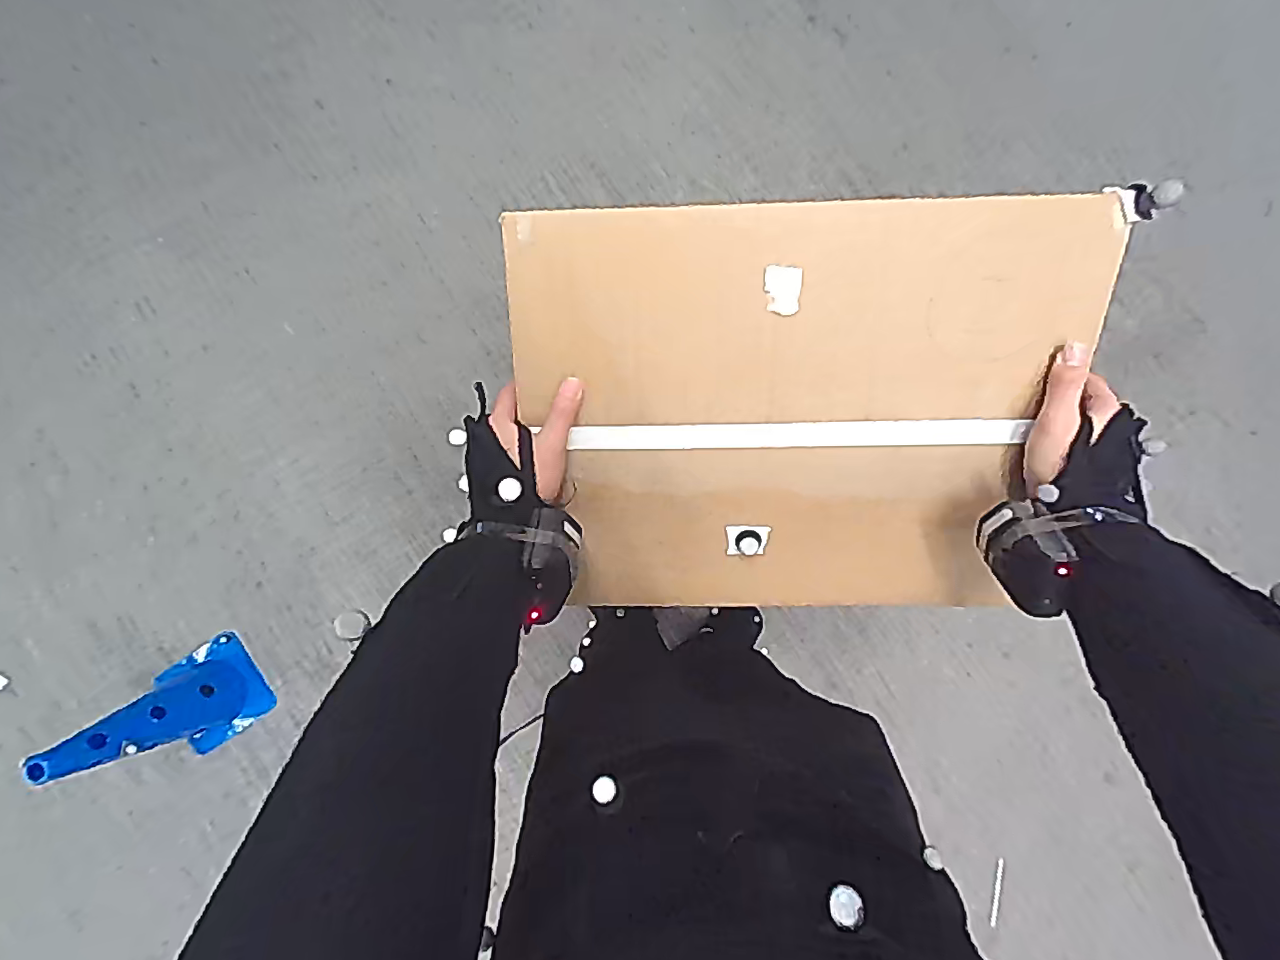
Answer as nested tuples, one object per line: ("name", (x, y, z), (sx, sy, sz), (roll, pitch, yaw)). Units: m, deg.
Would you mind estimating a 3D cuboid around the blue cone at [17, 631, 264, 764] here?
("blue cone", (-0.921, 0.435, 1.001), (0.193, 0.380, 0.192), (-33, 86, -3))
